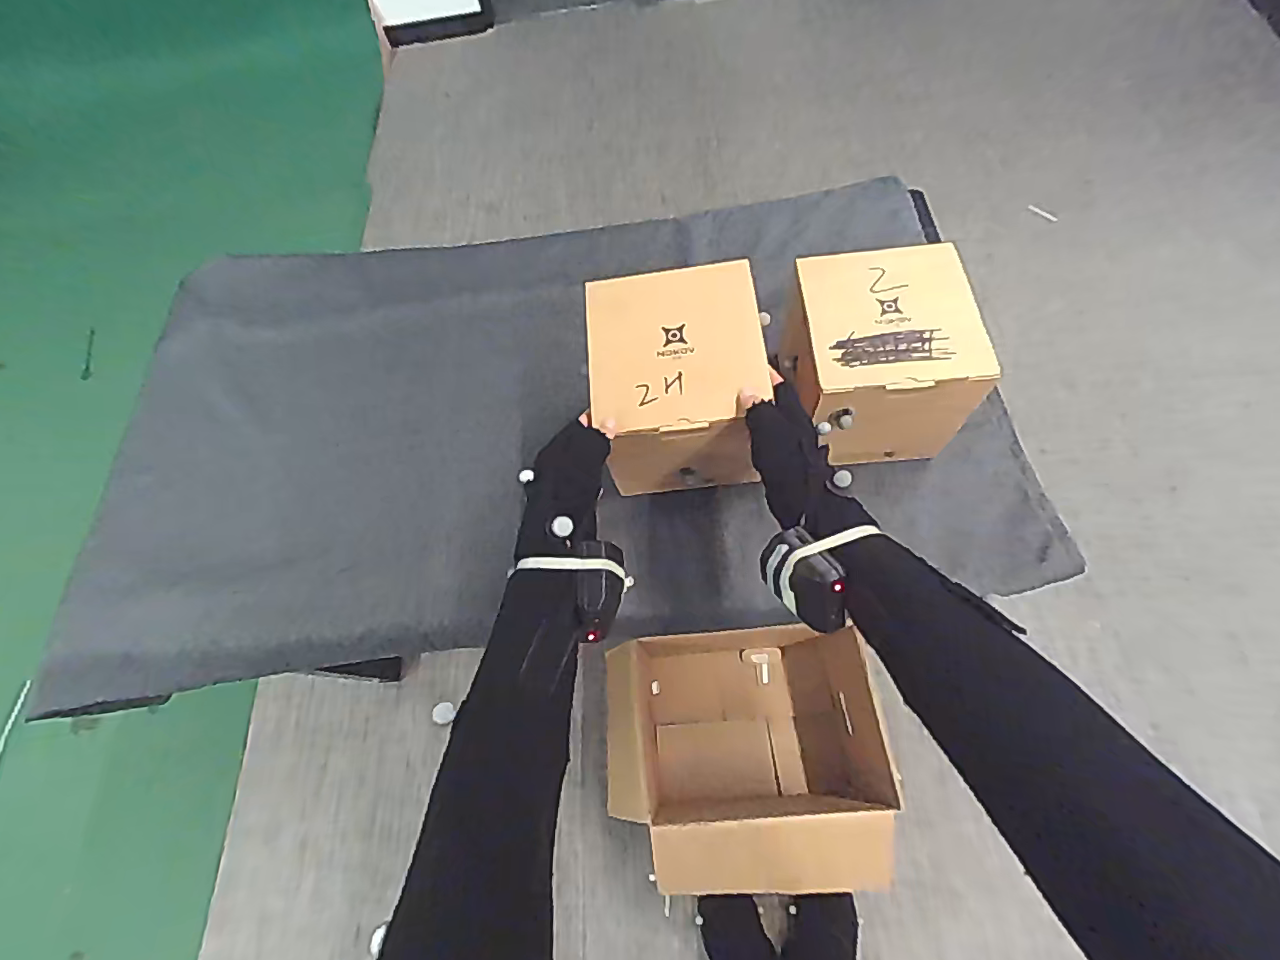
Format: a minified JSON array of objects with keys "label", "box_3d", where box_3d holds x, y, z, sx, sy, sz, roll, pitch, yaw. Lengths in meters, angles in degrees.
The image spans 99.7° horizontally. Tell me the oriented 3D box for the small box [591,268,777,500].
[{"label":"small box","box_3d":[0.045,-0.094,0.584,0.168,0.176,0.179,-7,68,6]}]
